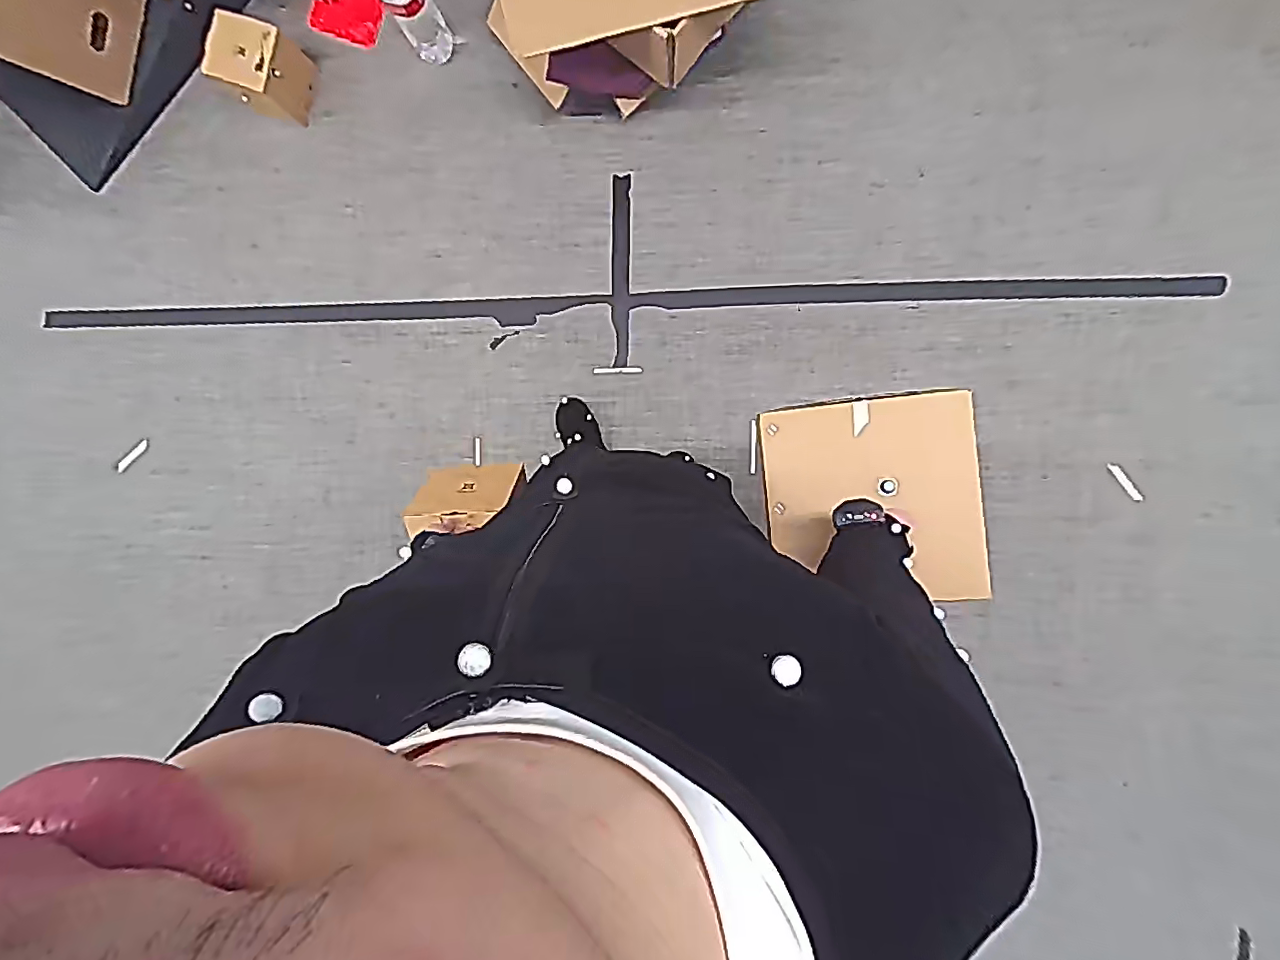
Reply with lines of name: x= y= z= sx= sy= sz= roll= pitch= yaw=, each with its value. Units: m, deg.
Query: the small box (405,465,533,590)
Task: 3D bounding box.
small box: x=-0.299 y=0.088 z=0.990 sx=0.168 sy=0.179 sz=0.176 roll=-3 pitch=117 yaw=1
